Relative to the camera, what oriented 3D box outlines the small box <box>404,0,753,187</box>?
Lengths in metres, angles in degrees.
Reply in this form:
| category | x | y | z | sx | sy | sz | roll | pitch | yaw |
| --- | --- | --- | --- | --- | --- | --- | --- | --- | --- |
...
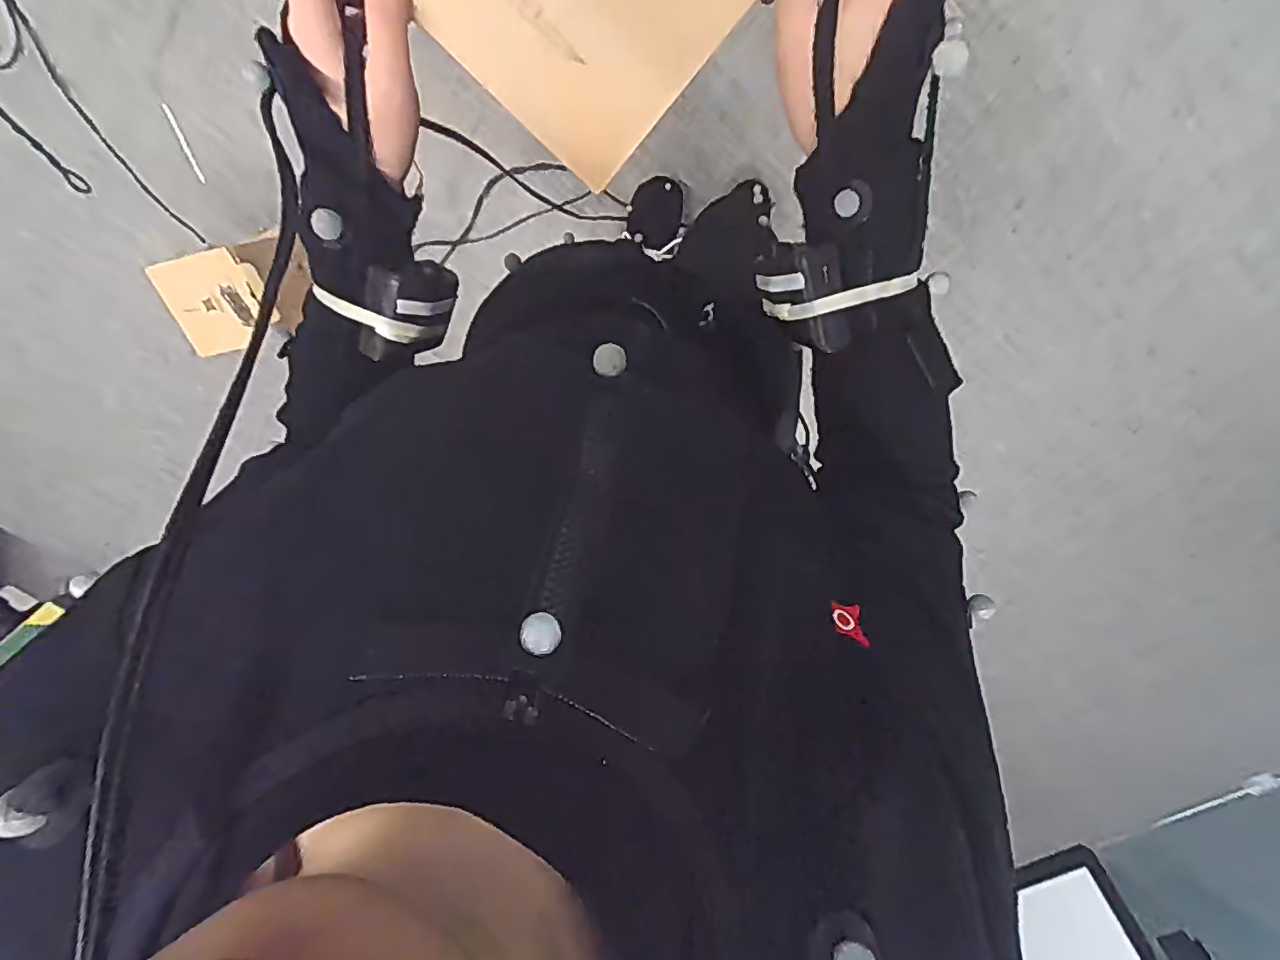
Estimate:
| category | x | y | z | sx | sy | sz | roll | pitch | yaw |
| --- | --- | --- | --- | --- | --- | --- | --- | --- | --- |
| small box | -0.020 | -0.313 | 0.297 | 0.168 | 0.176 | 0.179 | 35 | 128 | -24 |

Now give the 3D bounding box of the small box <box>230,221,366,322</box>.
| category | x | y | z | sx | sy | sz | roll | pitch | yaw |
| --- | --- | --- | --- | --- | --- | --- | --- | --- | --- |
| small box | -0.731 | -0.436 | 1.161 | 0.168 | 0.176 | 0.179 | -13 | 119 | 11 |

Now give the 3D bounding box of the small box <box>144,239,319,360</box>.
| category | x | y | z | sx | sy | sz | roll | pitch | yaw |
| --- | --- | --- | --- | --- | --- | --- | --- | --- | --- |
| small box | -0.749 | -0.346 | 1.023 | 0.179 | 0.176 | 0.168 | -9 | 119 | 9 |
